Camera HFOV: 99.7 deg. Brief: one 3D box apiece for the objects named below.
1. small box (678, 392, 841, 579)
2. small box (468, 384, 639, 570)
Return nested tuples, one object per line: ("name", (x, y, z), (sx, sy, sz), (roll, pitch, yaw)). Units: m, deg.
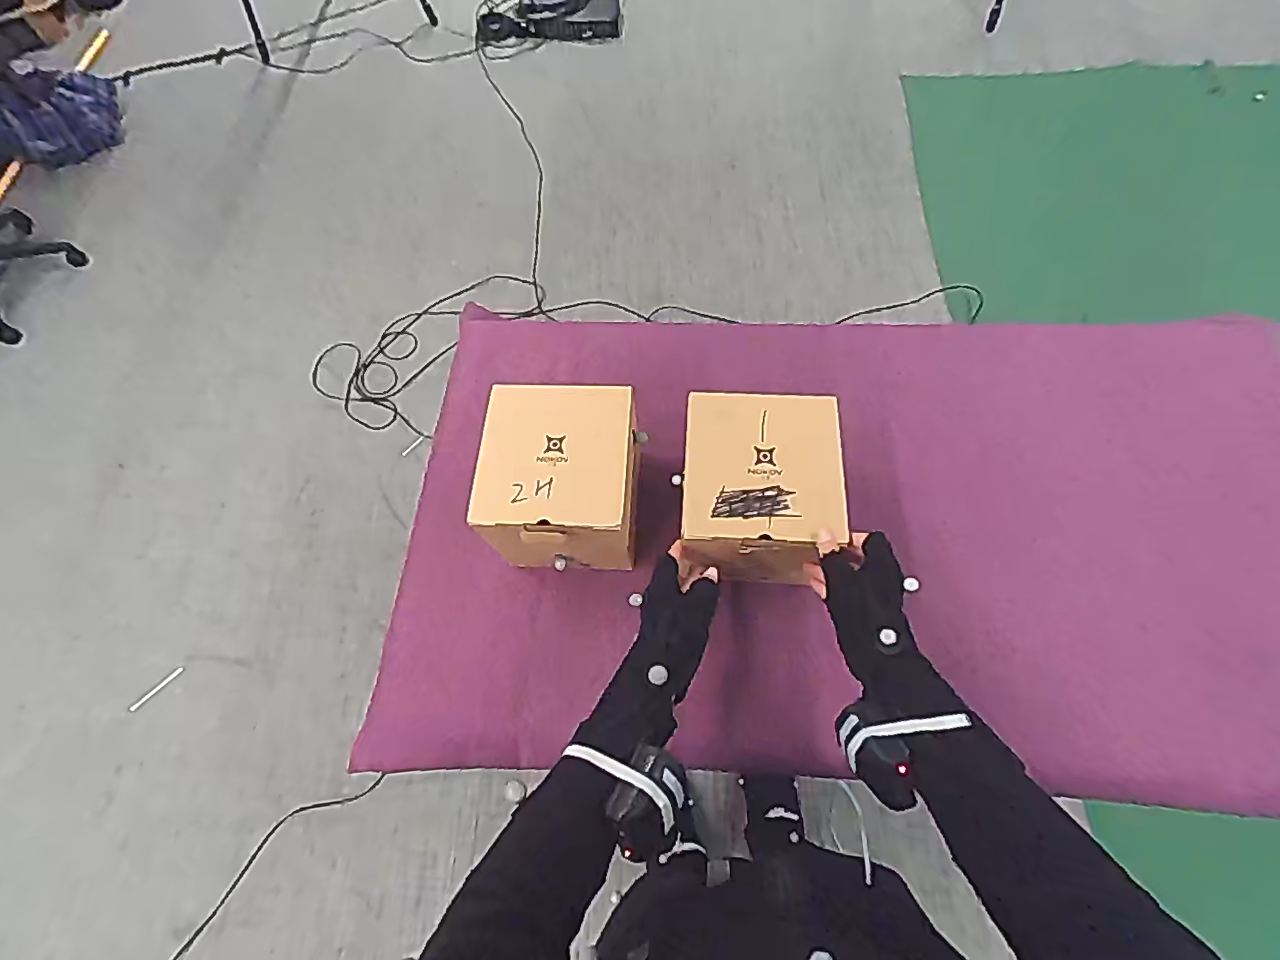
("small box", (0.133, 0.014, 0.649), (0.168, 0.176, 0.179), (2, 66, 5))
("small box", (-0.091, 0.001, 0.669), (0.168, 0.176, 0.179), (1, 66, 5))
